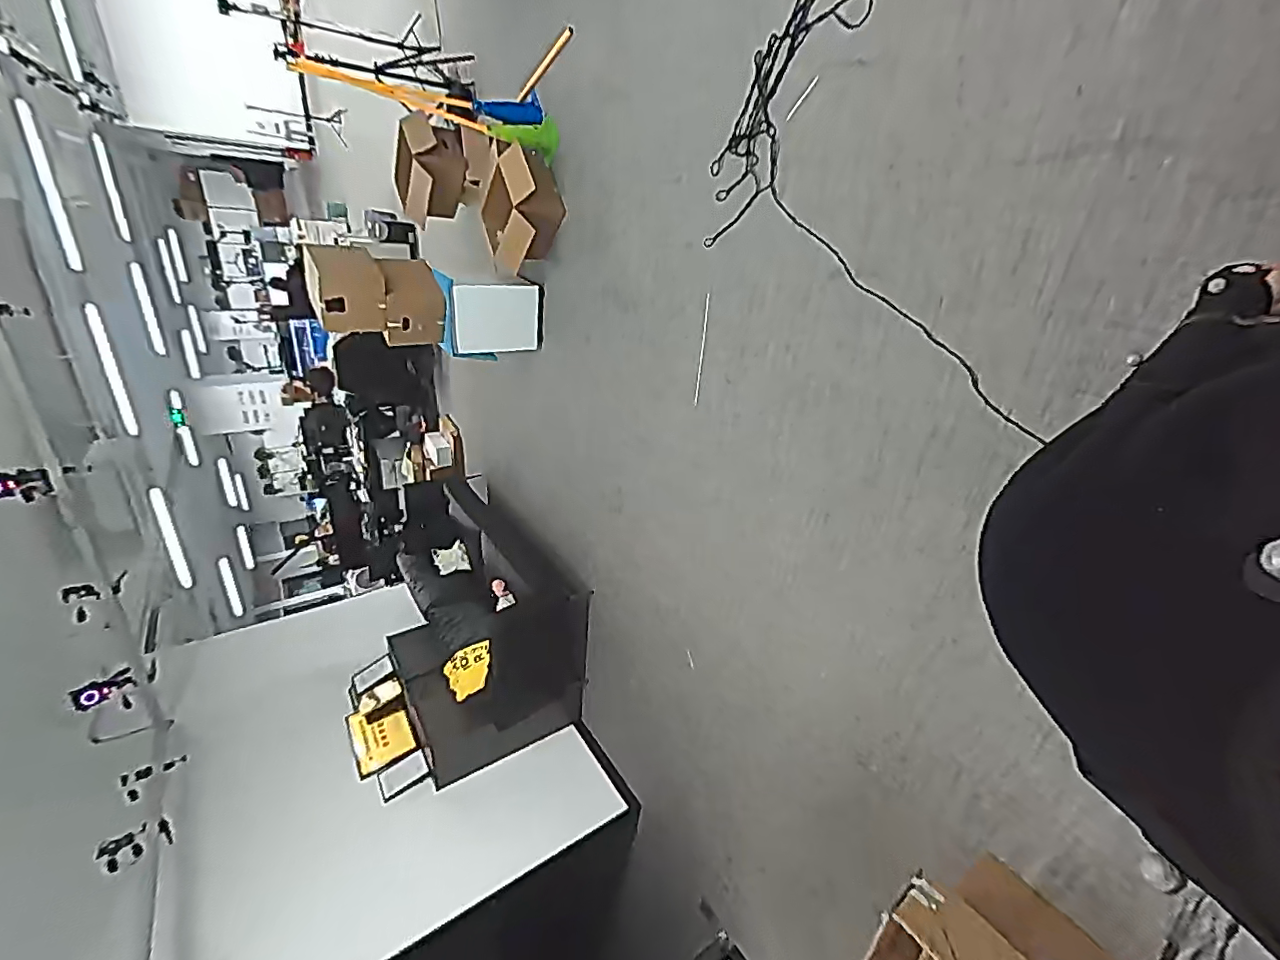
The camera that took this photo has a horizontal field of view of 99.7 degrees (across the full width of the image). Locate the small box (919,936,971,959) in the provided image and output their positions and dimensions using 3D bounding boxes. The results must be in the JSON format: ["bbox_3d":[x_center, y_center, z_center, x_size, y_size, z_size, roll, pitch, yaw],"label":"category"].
[{"bbox_3d":[0.746,1.253,1.282,0.168,0.176,0.179,16,115,54],"label":"small box"}]
